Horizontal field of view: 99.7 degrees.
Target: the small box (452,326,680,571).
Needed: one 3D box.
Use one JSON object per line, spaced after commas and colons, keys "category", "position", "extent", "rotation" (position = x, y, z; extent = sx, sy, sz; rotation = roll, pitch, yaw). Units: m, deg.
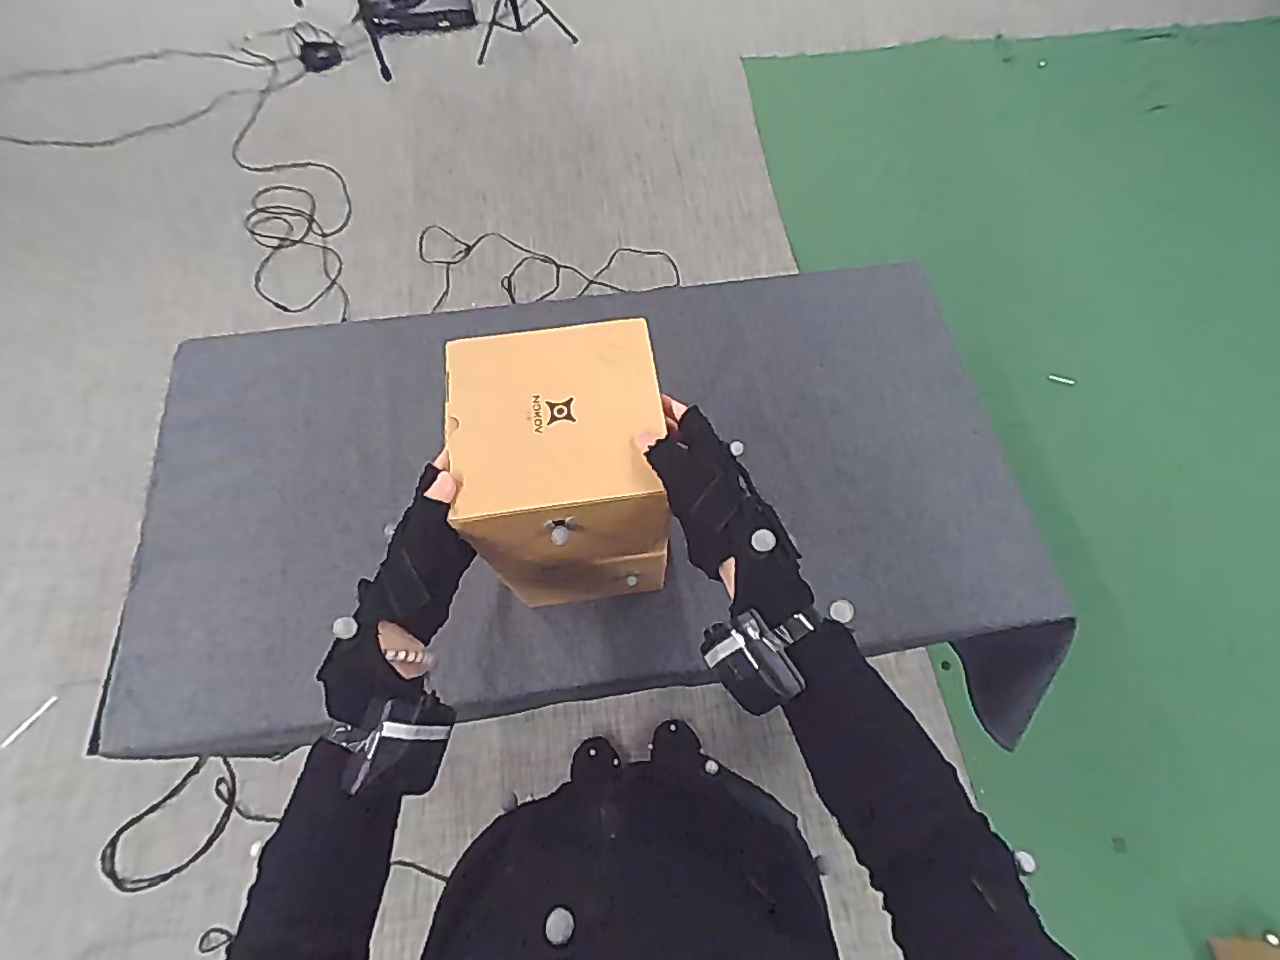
{"category": "small box", "position": [-0.066, -0.021, 0.515], "extent": [0.179, 0.176, 0.168], "rotation": [-8, 67, -3]}
